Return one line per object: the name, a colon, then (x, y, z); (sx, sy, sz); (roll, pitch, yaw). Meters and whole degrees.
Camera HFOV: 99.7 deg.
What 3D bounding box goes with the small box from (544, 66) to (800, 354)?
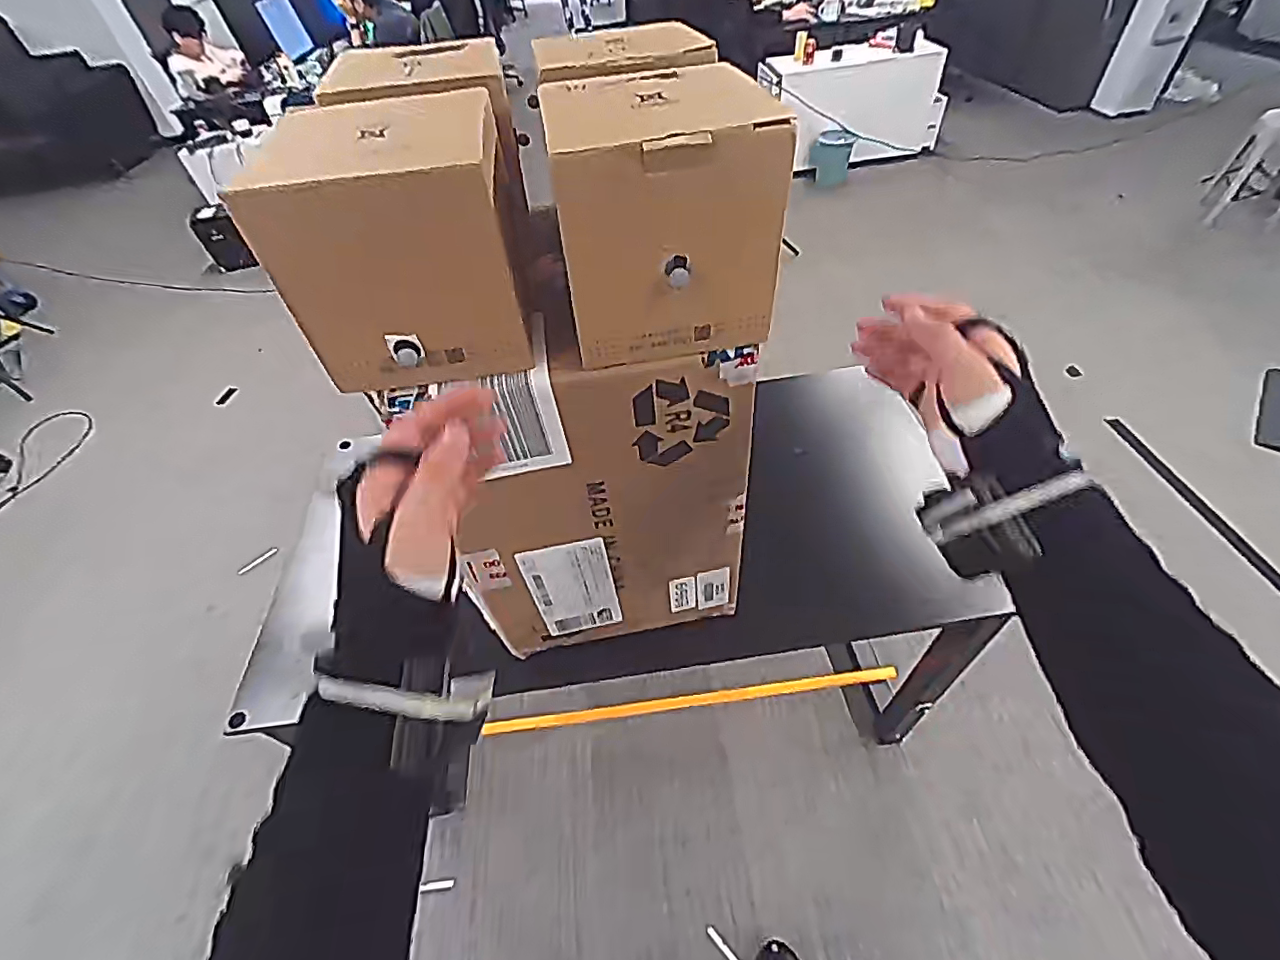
small box: (0.017, -0.221, 0.459); (0.168, 0.176, 0.179); (-8, 49, -5)
